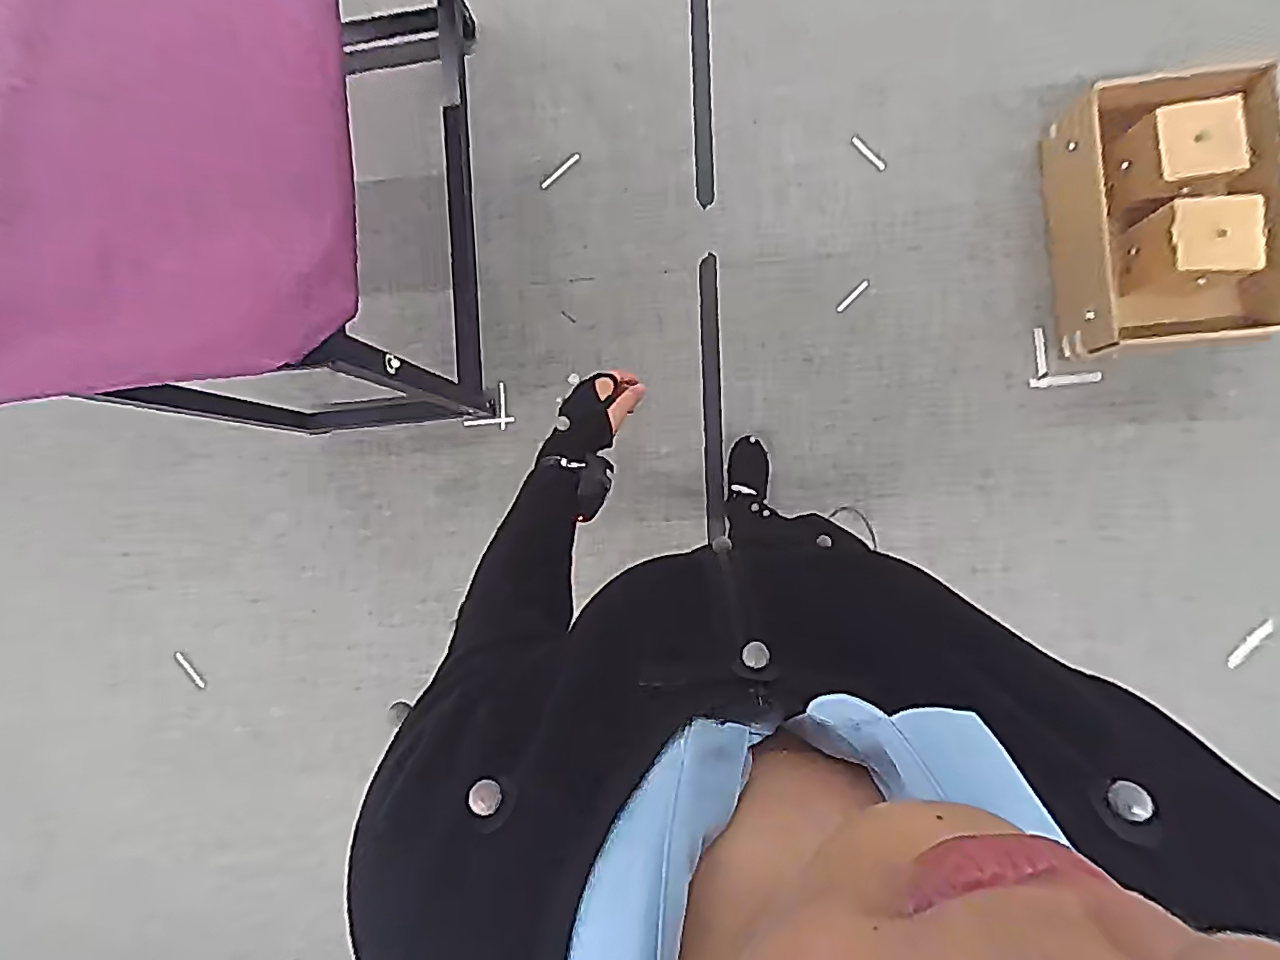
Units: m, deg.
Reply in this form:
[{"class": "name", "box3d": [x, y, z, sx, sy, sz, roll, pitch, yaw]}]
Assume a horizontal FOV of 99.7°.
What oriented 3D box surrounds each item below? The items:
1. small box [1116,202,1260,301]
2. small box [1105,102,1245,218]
[{"class": "small box", "box3d": [1.284, -0.532, 1.276, 0.179, 0.176, 0.168, 1, 88, 6]}, {"class": "small box", "box3d": [1.251, -0.747, 1.283, 0.179, 0.176, 0.168, -6, 89, 6]}]
